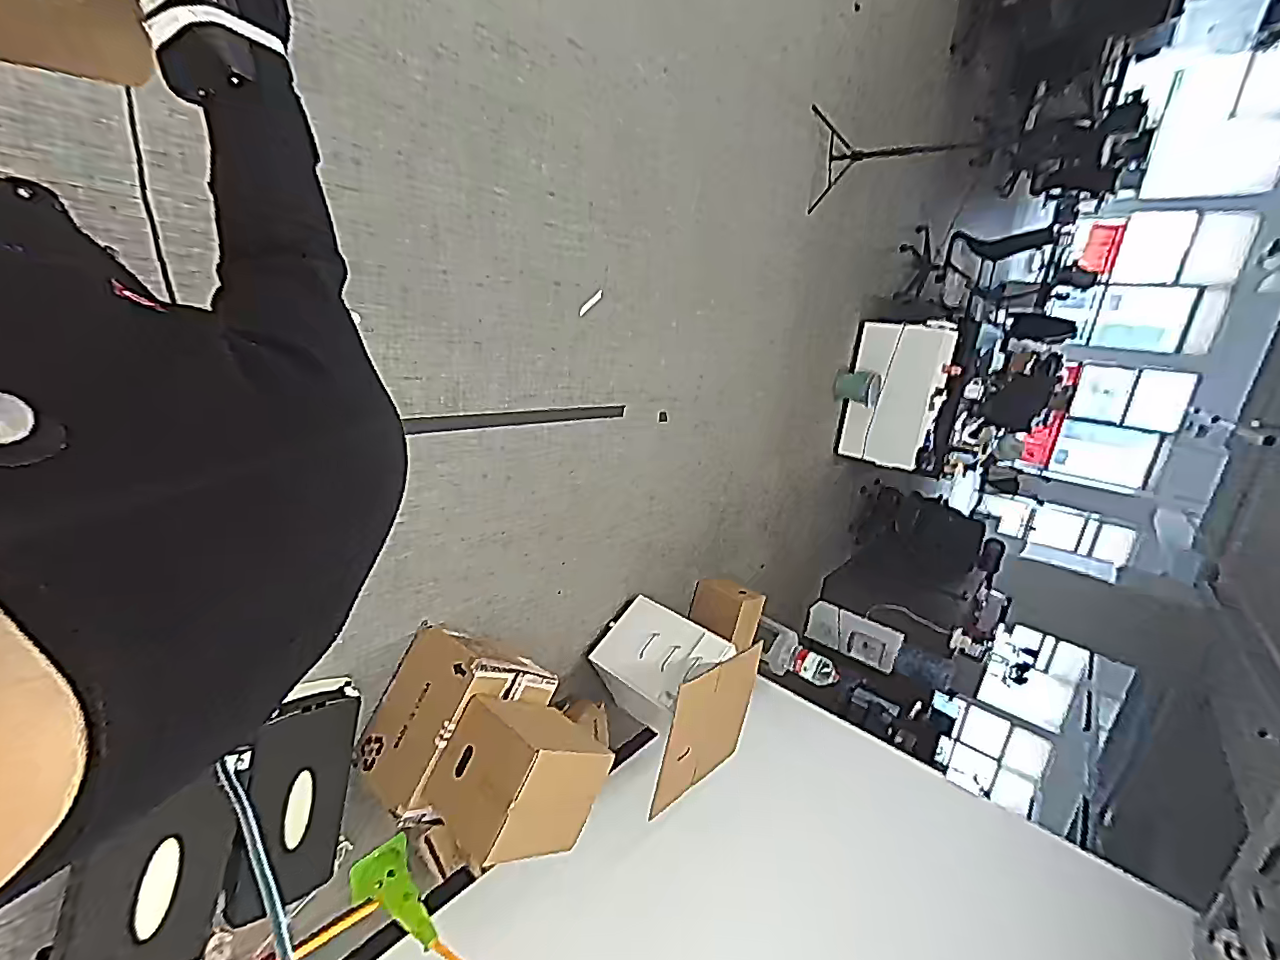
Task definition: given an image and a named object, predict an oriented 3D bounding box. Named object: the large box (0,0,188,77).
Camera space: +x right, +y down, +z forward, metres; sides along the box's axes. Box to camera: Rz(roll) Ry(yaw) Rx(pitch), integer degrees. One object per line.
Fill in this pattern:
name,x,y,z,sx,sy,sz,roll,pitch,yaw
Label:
large box,-0.560,-0.480,0.296,0.408,0.320,0.320,-19,121,-43
